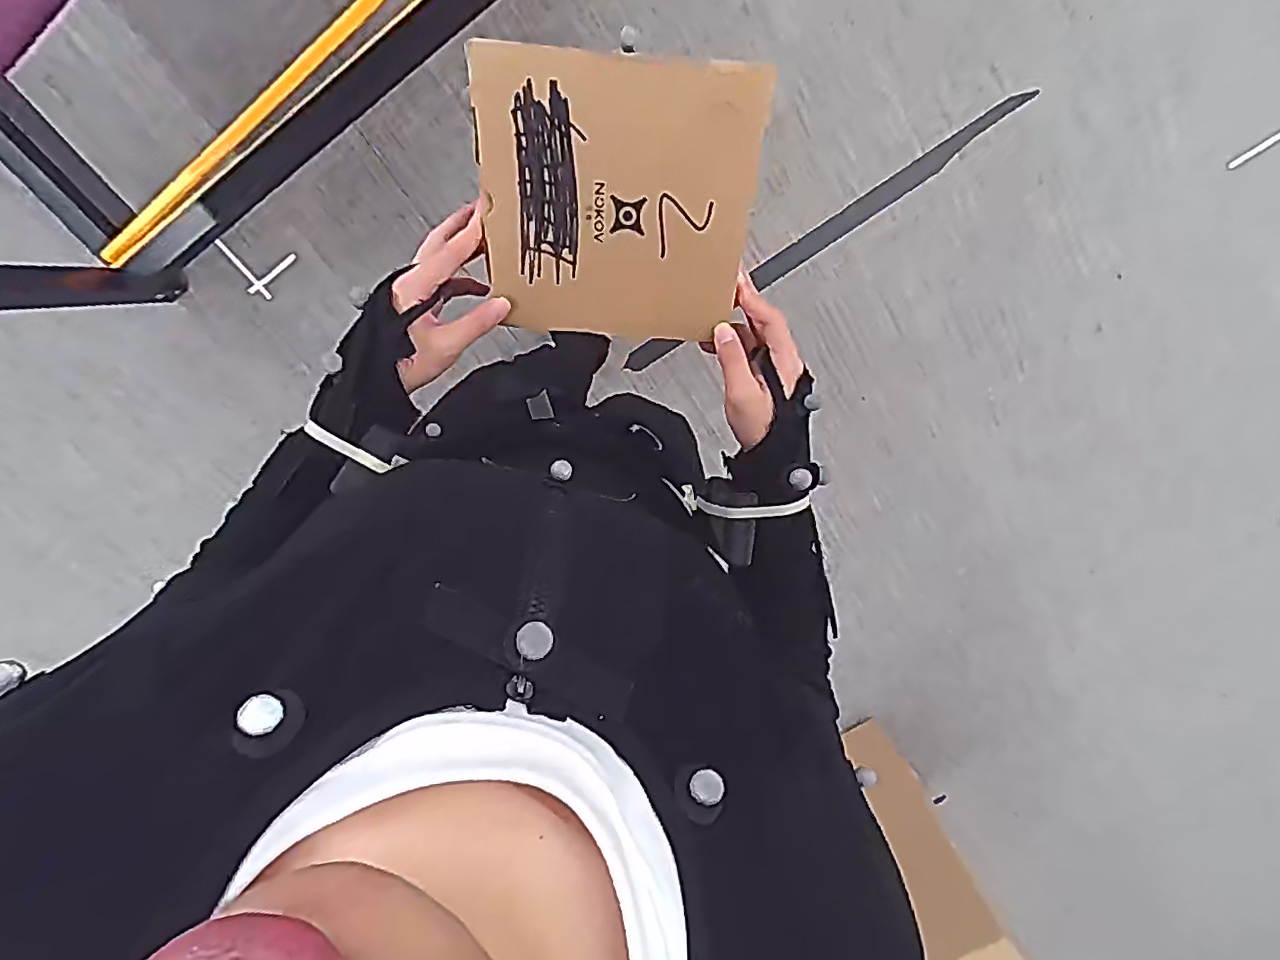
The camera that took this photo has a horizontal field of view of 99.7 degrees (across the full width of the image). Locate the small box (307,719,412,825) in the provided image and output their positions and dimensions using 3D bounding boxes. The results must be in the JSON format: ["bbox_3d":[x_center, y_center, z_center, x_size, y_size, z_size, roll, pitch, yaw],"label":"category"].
[{"bbox_3d":[-0.787,0.826,1.539,0.179,0.176,0.168,-27,110,4],"label":"small box"}]
